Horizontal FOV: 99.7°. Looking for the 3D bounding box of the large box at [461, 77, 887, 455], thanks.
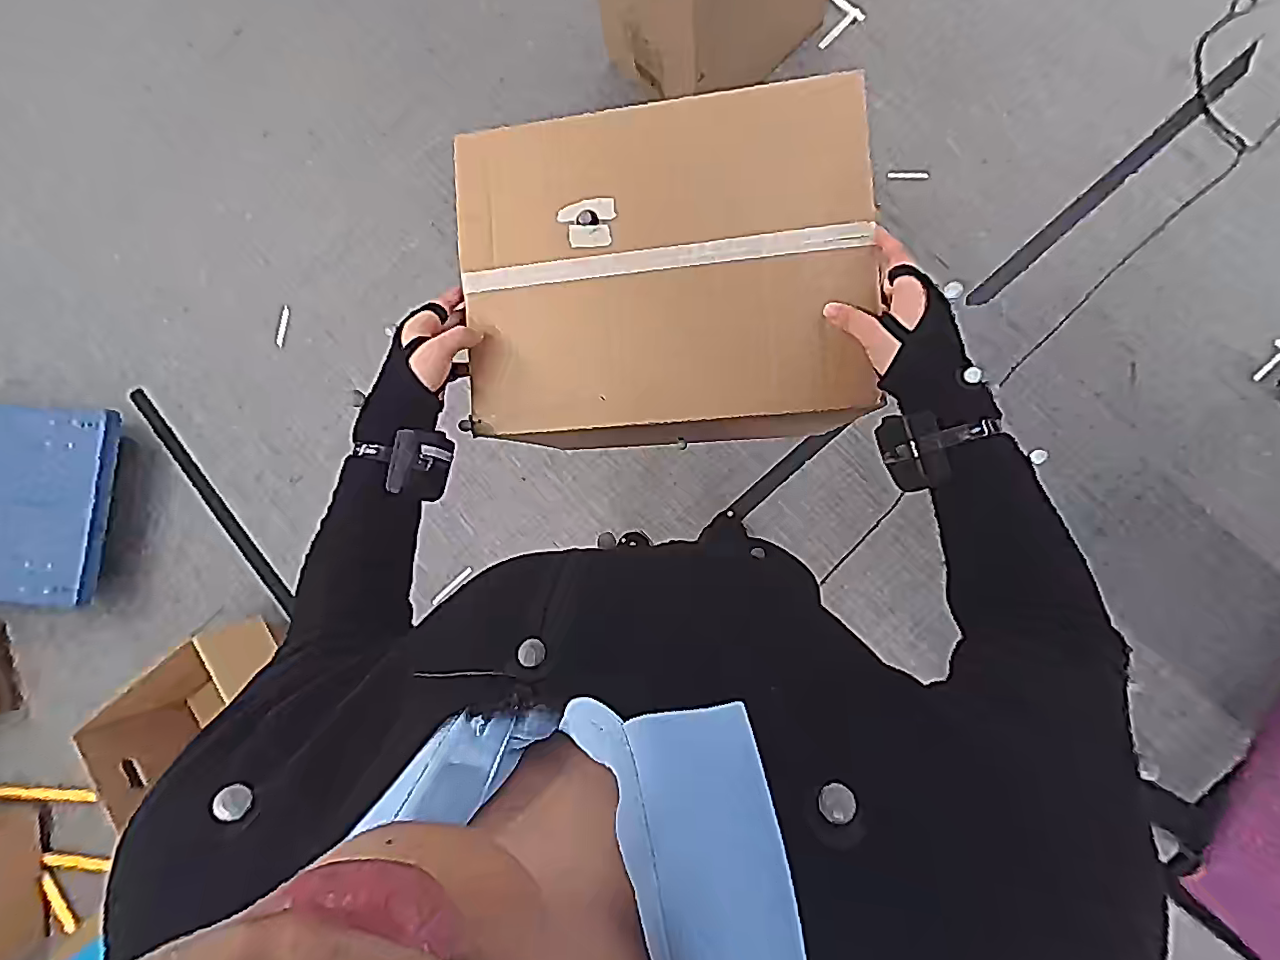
[{"bbox_3d":[0.044,-0.204,0.671,0.408,0.320,0.320,-4,88,9],"label":"large box"}]
